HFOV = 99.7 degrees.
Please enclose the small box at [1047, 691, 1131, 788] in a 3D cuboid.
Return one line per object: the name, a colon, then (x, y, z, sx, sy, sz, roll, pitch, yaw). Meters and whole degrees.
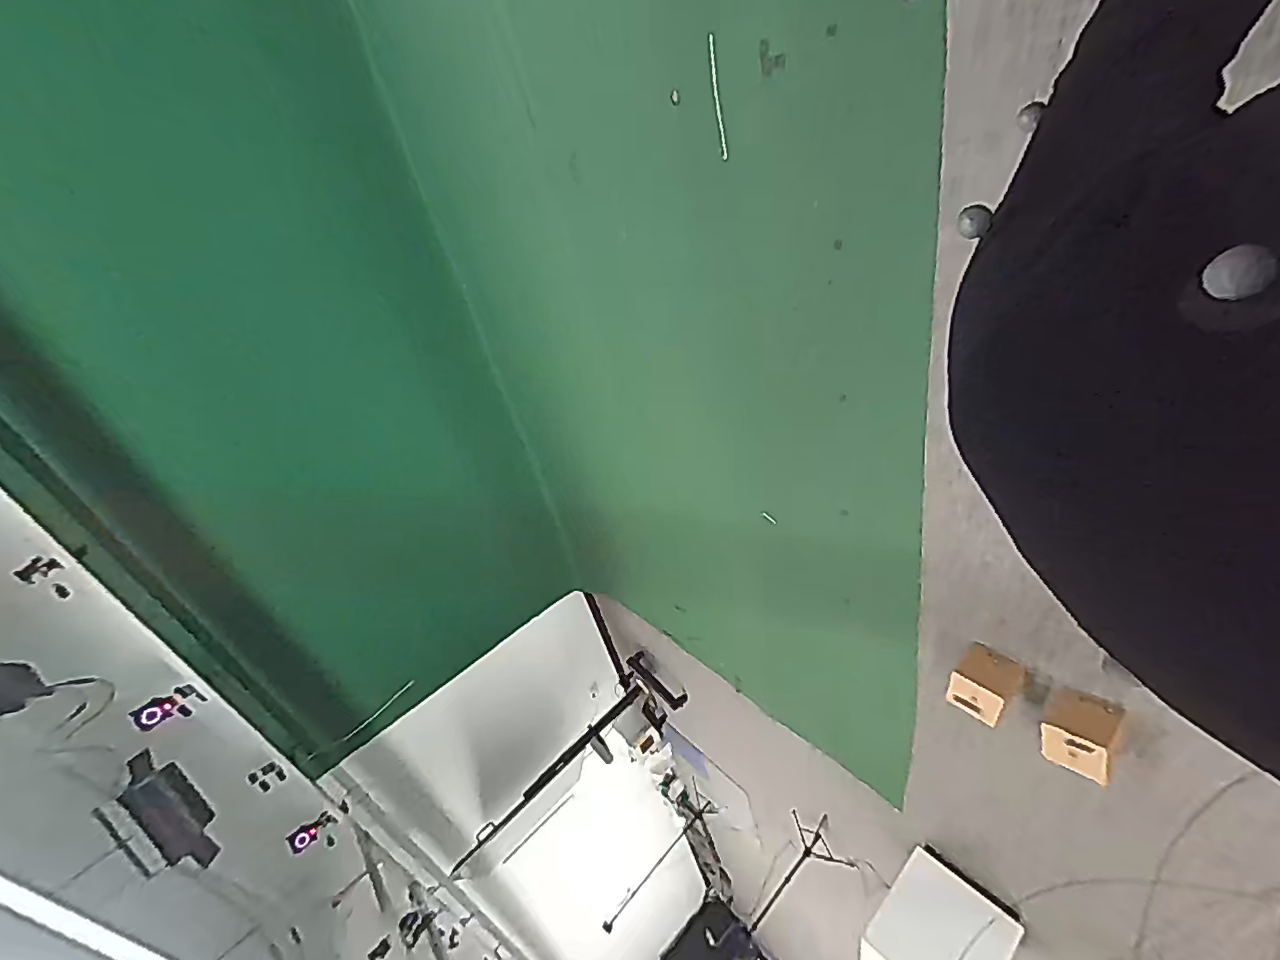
small box: (1.398, 0.798, 1.685, 0.168, 0.176, 0.179, 16, 133, 53)
